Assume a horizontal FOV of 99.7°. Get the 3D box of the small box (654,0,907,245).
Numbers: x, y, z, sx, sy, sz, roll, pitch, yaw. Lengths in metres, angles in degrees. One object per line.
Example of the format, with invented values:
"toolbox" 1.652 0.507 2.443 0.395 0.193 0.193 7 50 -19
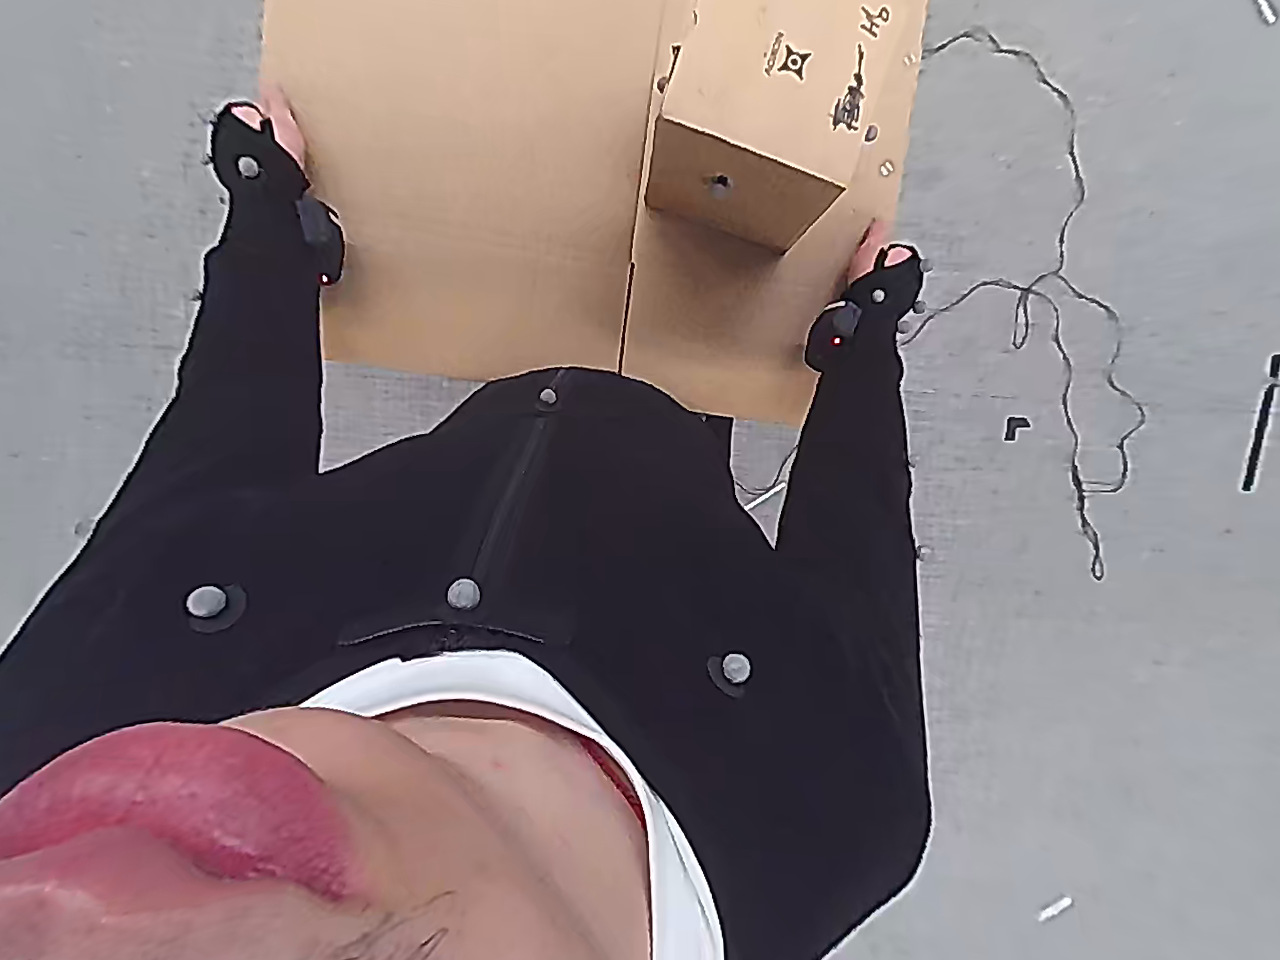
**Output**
"small box" 0.120 -0.363 0.543 0.179 0.176 0.168 18 93 -4
